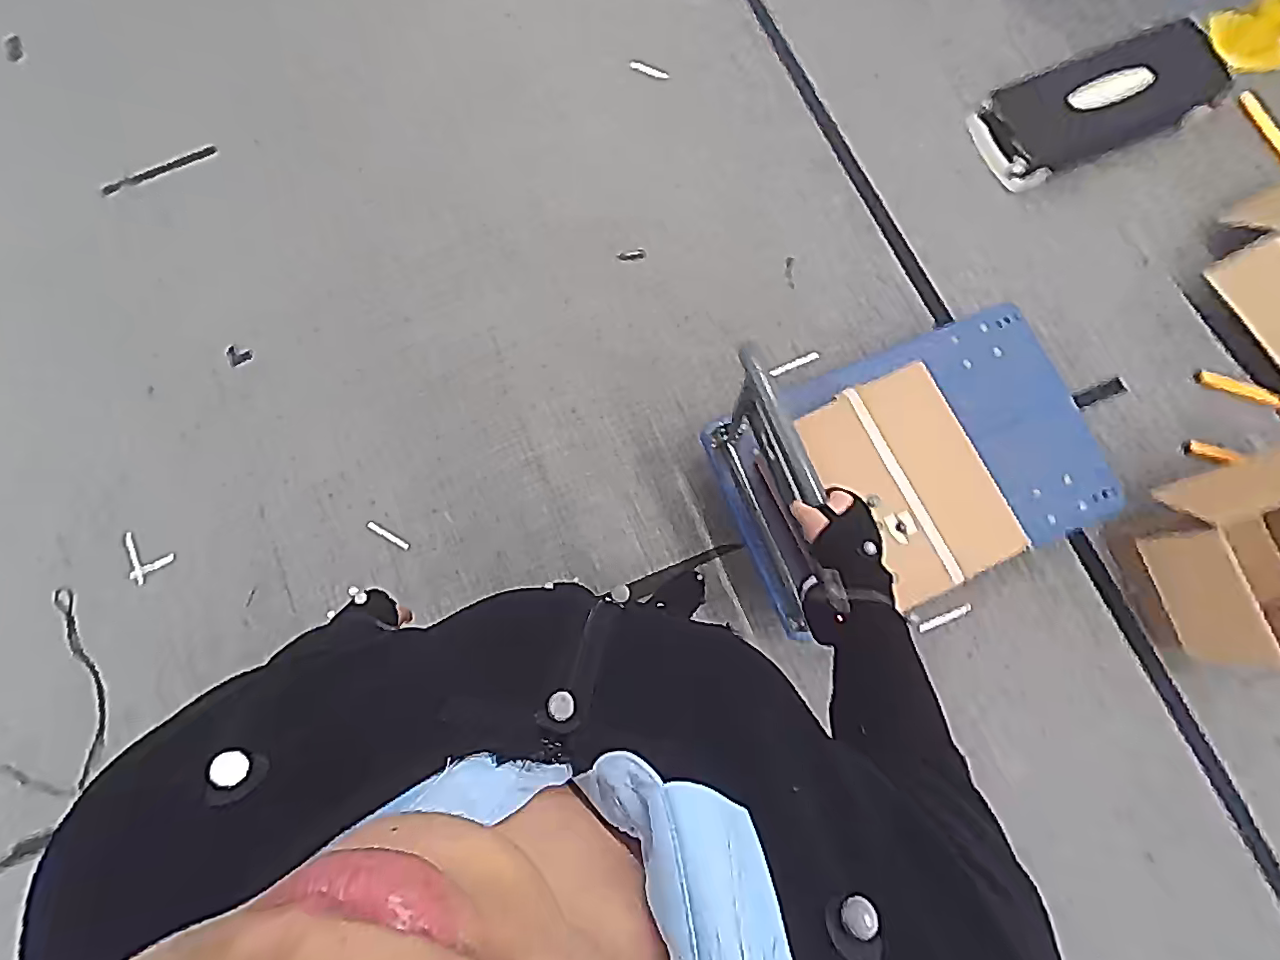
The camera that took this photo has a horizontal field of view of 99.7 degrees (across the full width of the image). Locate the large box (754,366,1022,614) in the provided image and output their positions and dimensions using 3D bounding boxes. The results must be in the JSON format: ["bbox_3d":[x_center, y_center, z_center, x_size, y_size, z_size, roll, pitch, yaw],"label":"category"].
[{"bbox_3d":[0.499,0.031,1.183,0.320,0.320,0.408,-26,82,-1],"label":"large box"}]
